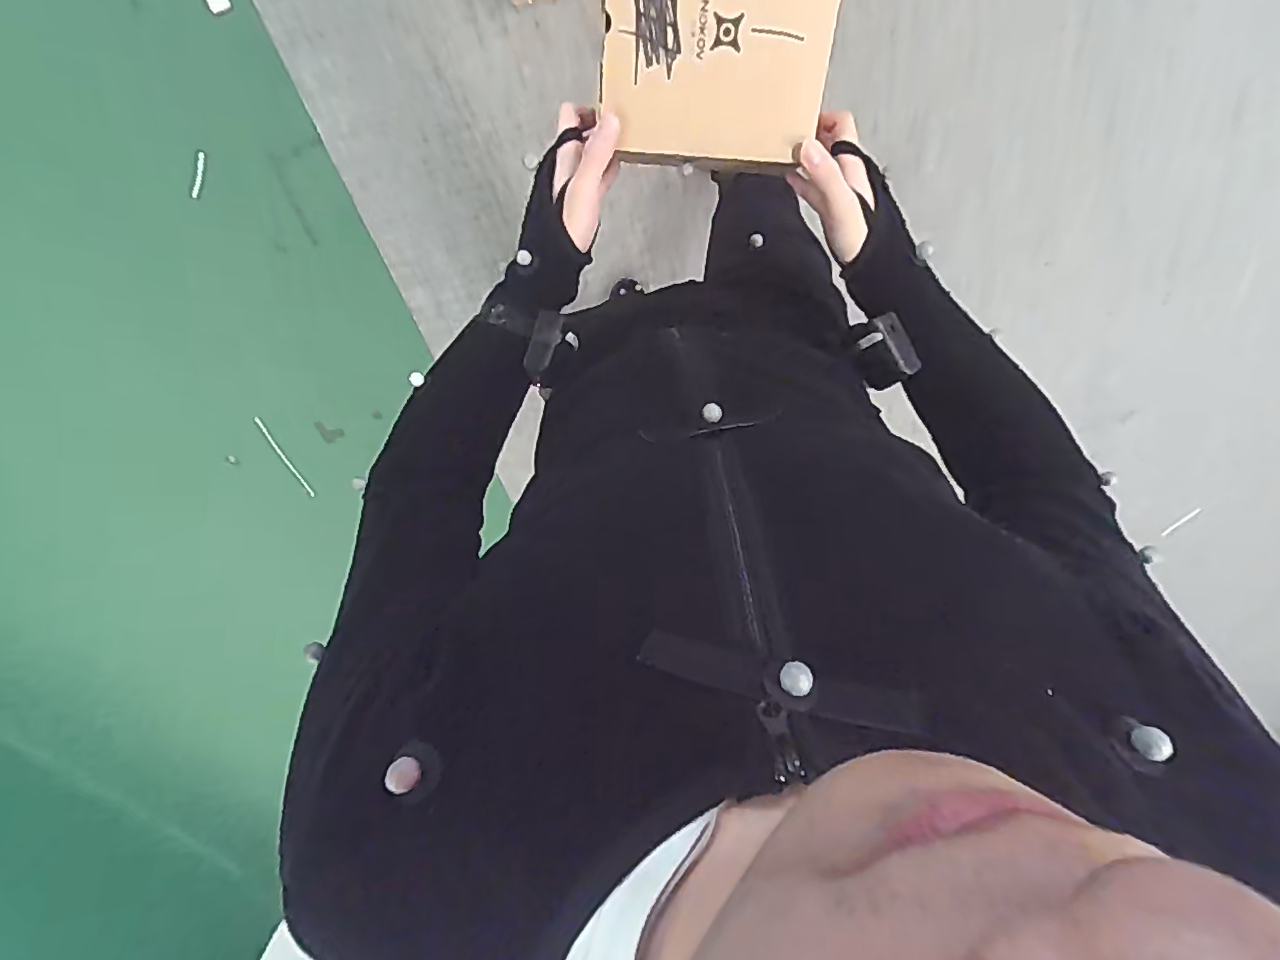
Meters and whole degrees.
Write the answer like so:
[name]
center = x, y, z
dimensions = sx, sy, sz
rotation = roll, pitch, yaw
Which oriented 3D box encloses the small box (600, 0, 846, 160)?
[small box]
center = 0.067, -0.378, 0.462
dimensions = 0.179, 0.176, 0.168
rotation = 6, 118, 2
